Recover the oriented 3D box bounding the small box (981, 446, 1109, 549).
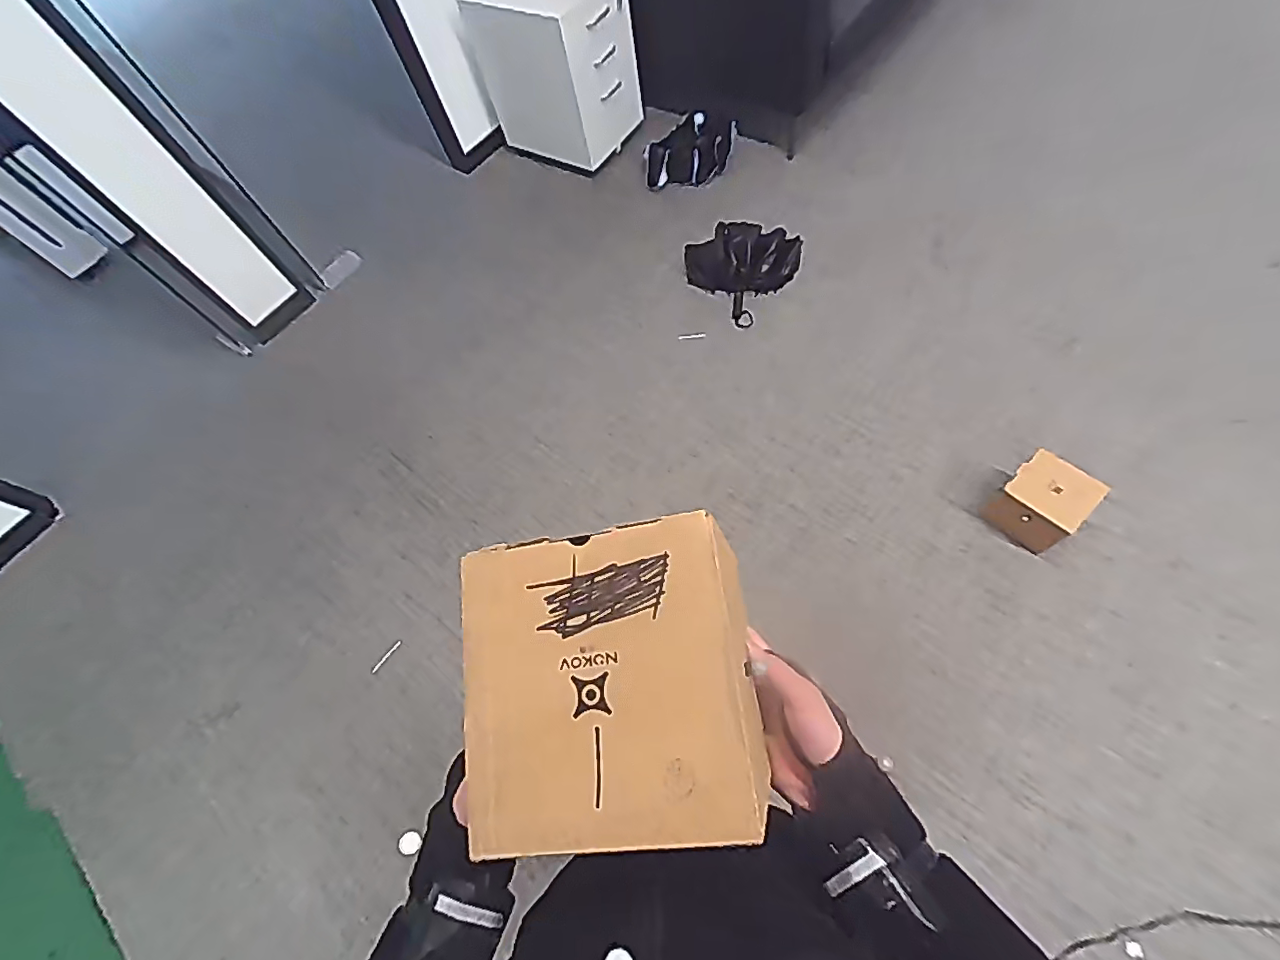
[{"bbox_3d":[1.033,0.051,1.398,0.168,0.176,0.179,-43,66,-10],"label":"small box"}]

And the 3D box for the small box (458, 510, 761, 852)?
[{"bbox_3d":[-0.011,0.135,0.387,0.168,0.176,0.179,-11,72,12],"label":"small box"}]
